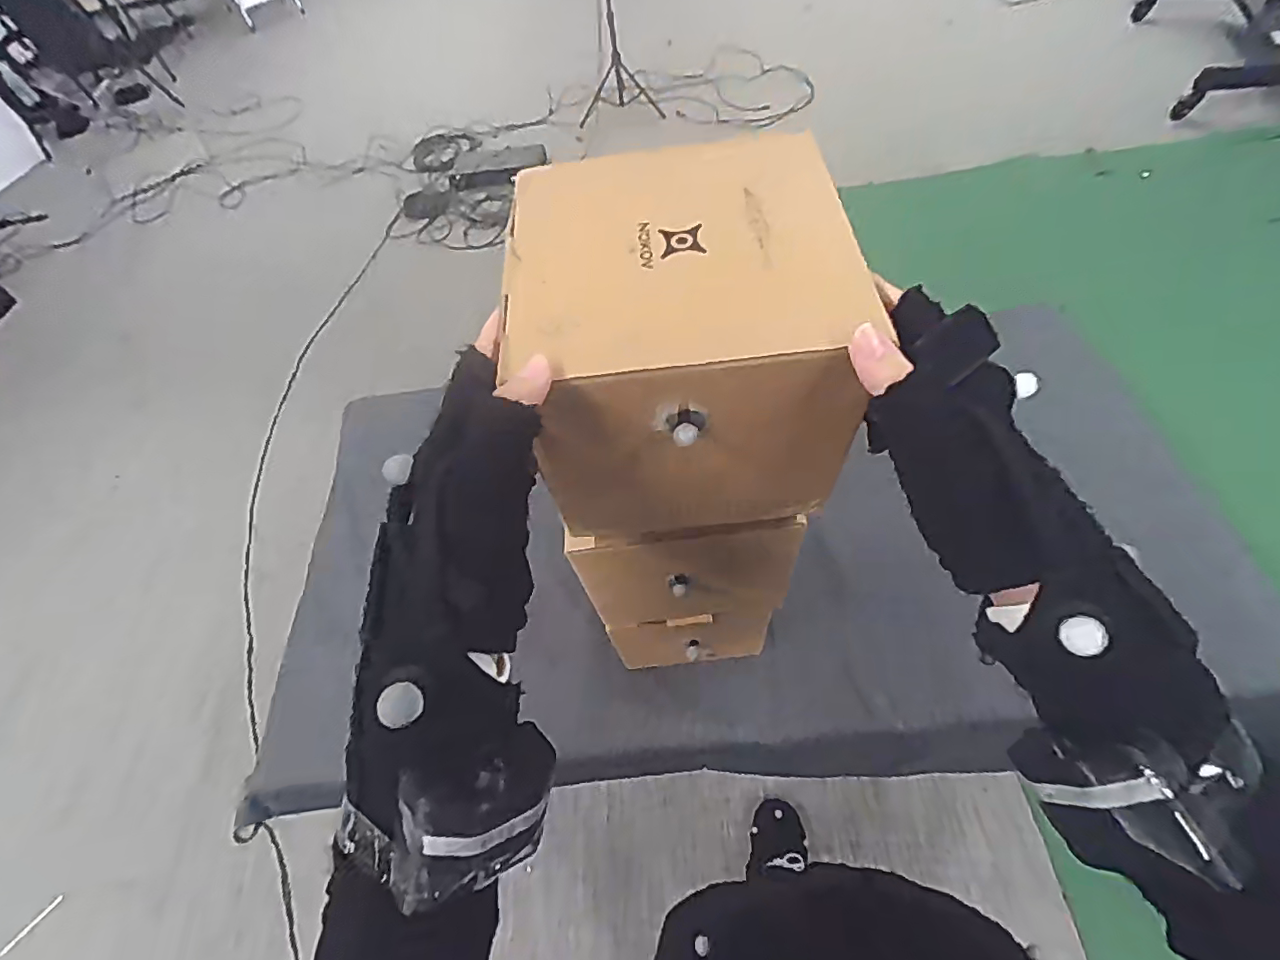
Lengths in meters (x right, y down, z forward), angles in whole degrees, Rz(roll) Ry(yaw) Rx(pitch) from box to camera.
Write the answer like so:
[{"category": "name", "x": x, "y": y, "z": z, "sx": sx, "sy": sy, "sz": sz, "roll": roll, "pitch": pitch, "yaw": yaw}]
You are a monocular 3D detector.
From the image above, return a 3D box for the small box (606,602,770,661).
[{"category": "small box", "x": 0.051, "y": 0.107, "z": 0.637, "sx": 0.168, "sy": 0.176, "sz": 0.179, "roll": -8, "pitch": 58, "yaw": 3}]

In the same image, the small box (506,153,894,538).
[{"category": "small box", "x": 0.028, "y": -0.072, "z": 0.346, "sx": 0.179, "sy": 0.176, "sz": 0.168, "roll": -5, "pitch": 60, "yaw": 1}]

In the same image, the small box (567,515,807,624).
[{"category": "small box", "x": 0.038, "y": 0.023, "z": 0.495, "sx": 0.179, "sy": 0.176, "sz": 0.168, "roll": -7, "pitch": 57, "yaw": 5}]
